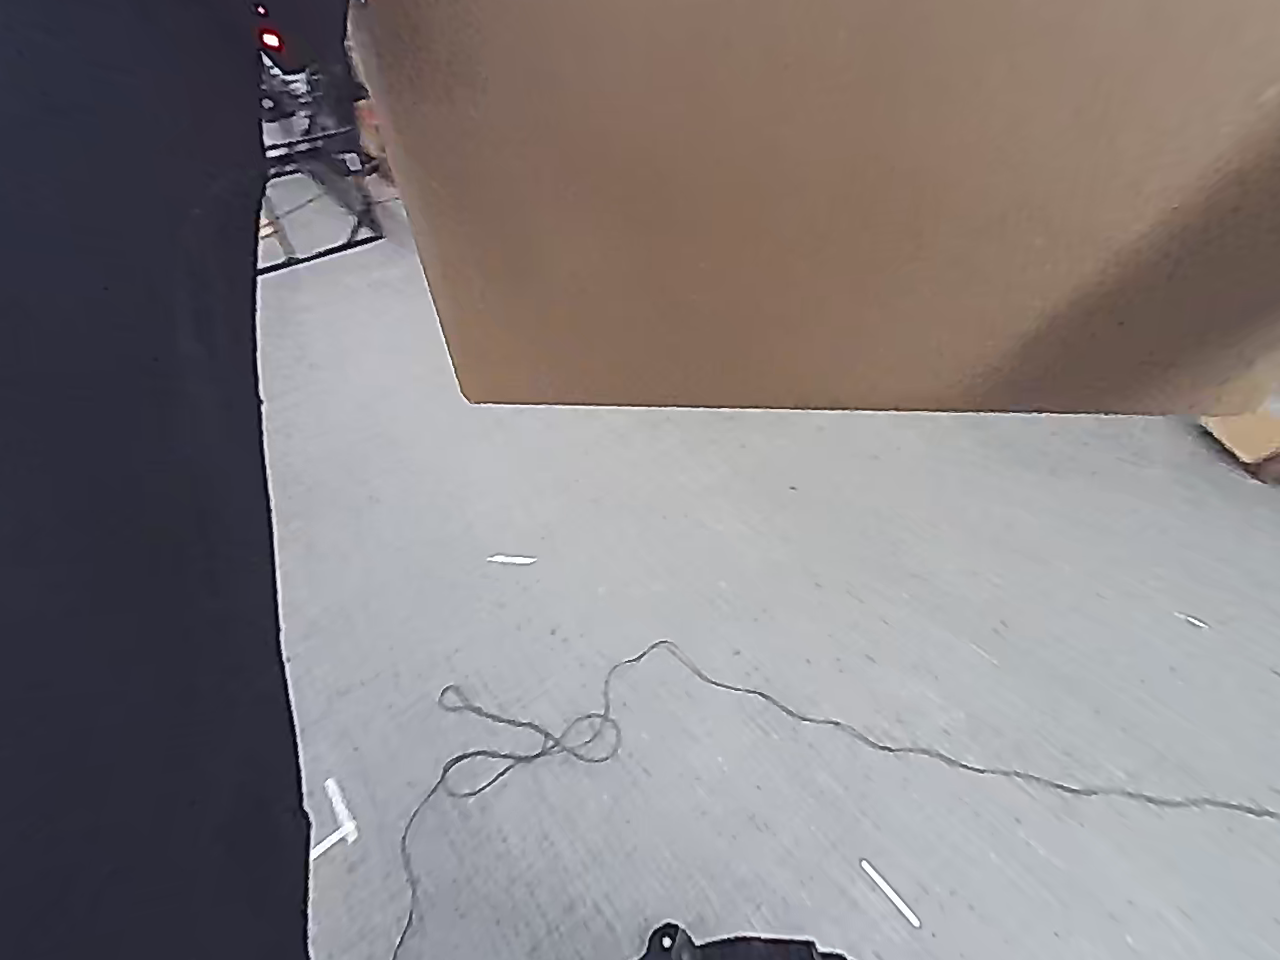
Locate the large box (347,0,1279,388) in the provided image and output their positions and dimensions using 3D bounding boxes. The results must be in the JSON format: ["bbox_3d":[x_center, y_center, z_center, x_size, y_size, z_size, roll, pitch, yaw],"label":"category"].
[{"bbox_3d":[0.098,-0.259,0.288,0.408,0.320,0.320,1,45,1],"label":"large box"}]
